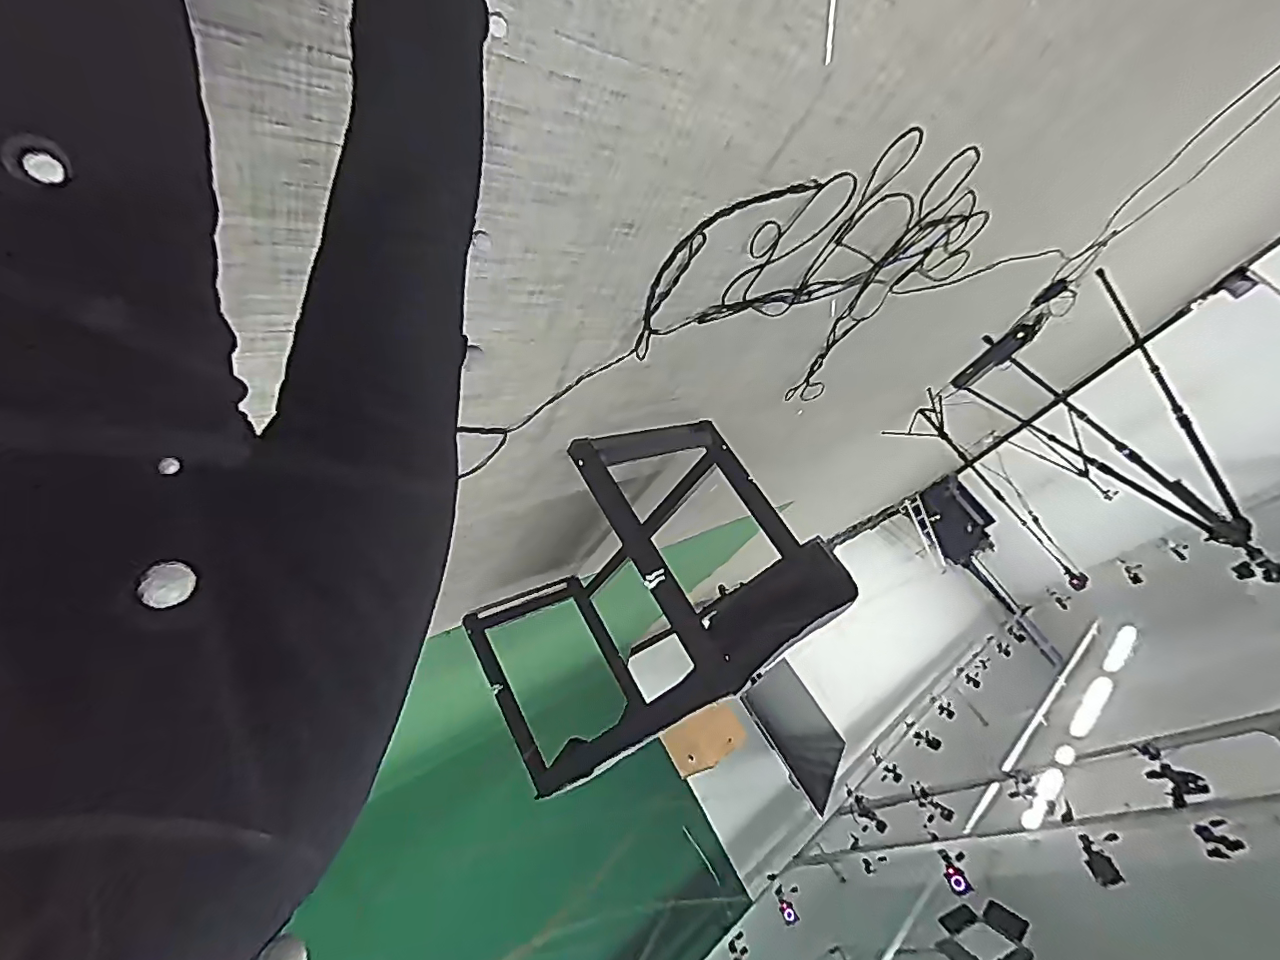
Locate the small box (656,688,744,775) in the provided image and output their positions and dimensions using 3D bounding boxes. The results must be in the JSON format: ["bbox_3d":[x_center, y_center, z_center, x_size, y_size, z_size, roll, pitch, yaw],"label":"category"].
[{"bbox_3d":[0.176,0.759,1.646,0.168,0.176,0.179,-15,155,-39],"label":"small box"}]
